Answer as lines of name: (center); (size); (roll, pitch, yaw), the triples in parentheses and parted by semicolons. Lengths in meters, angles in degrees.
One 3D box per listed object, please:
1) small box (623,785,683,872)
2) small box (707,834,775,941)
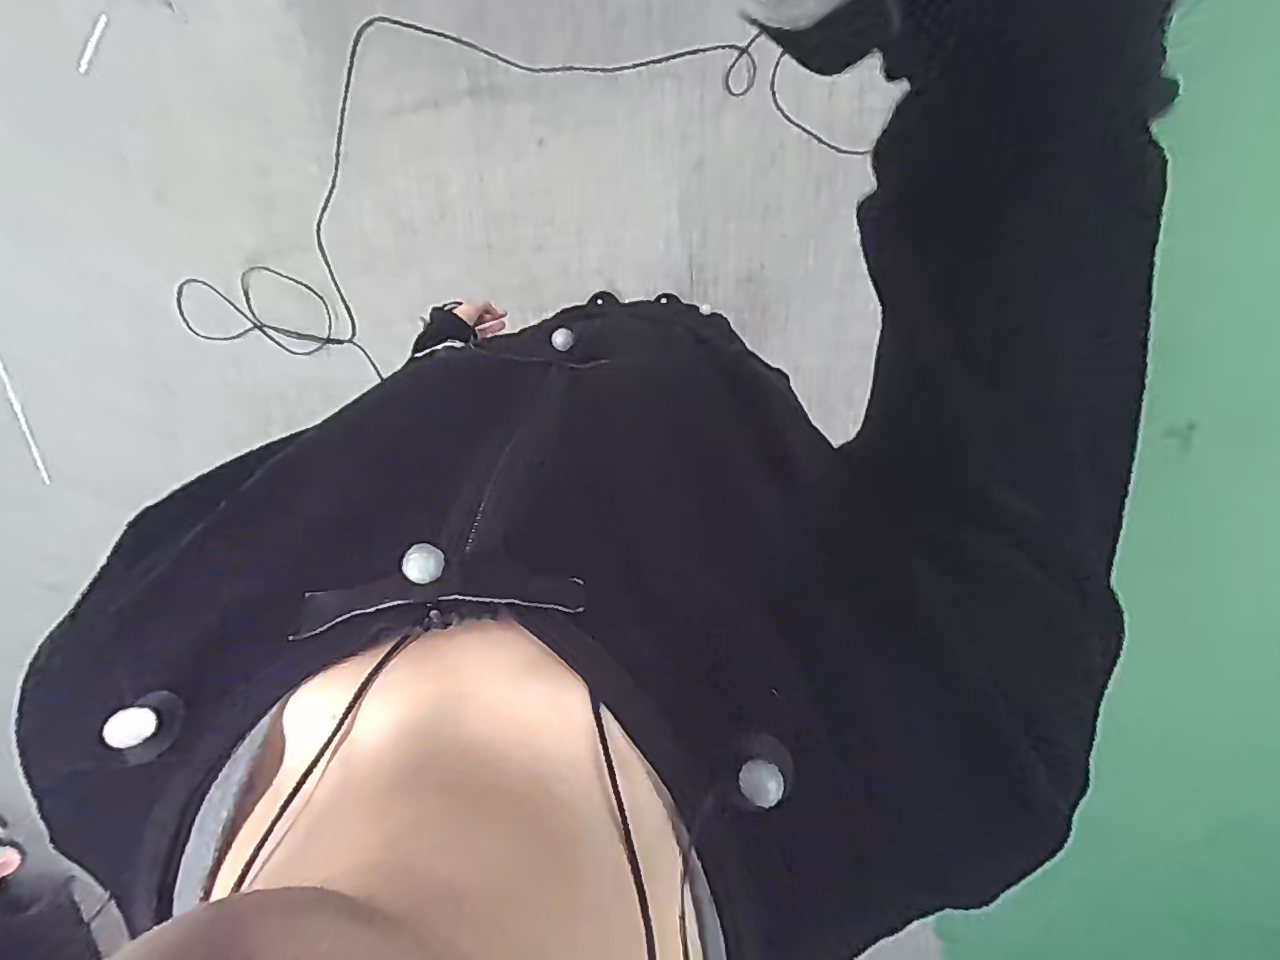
small box: (0.039, 1.087, 1.695); (0.179, 0.176, 0.168); (-3, 105, 2)
small box: (0.279, 1.148, 1.527); (0.168, 0.176, 0.179); (1, 105, 2)
